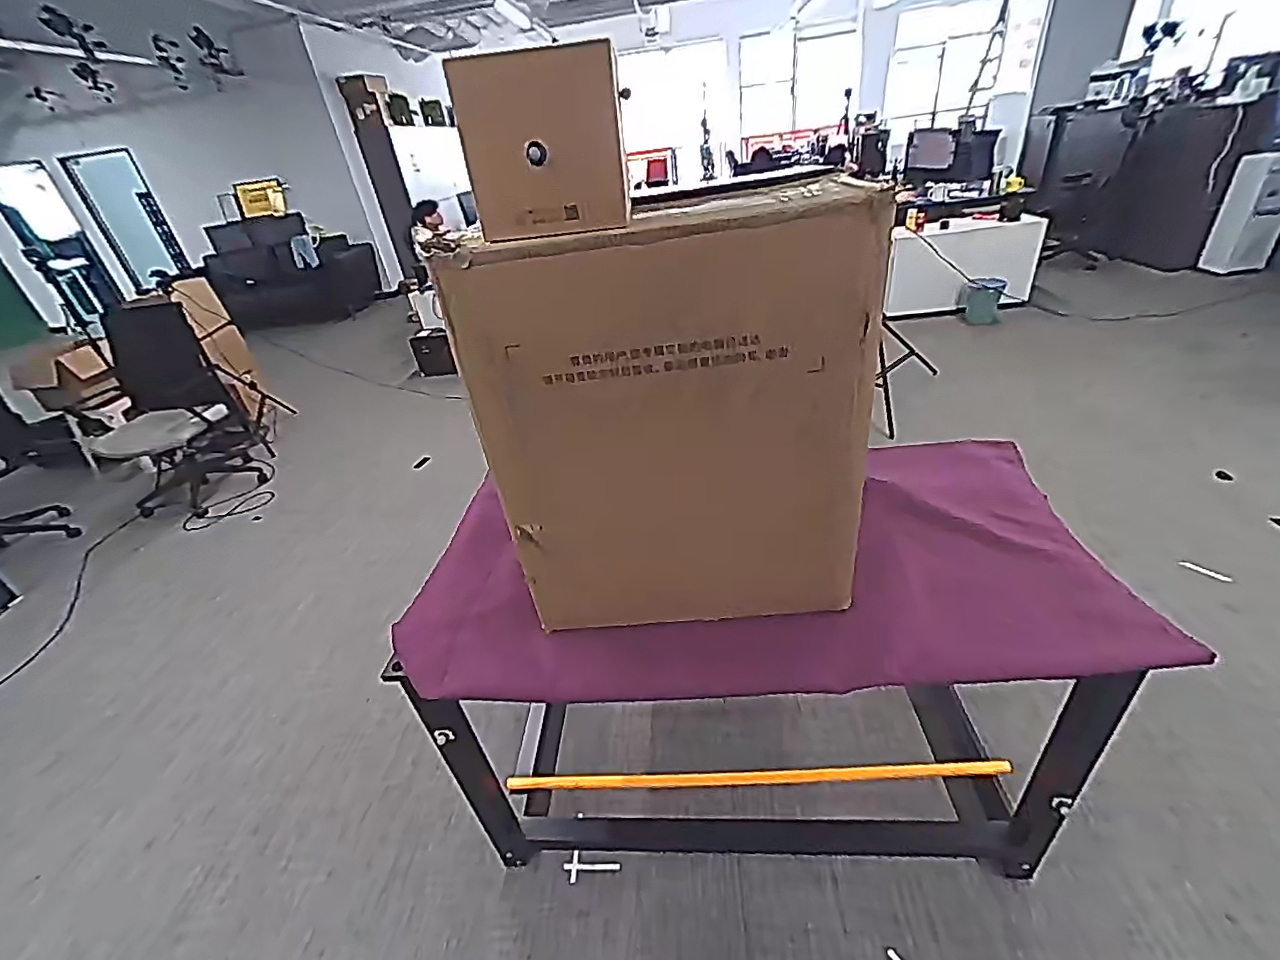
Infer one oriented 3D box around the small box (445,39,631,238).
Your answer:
[{"bbox_3d":[-0.101,-0.388,0.631,0.168,0.176,0.179,-4,33,3],"label":"small box"}]
